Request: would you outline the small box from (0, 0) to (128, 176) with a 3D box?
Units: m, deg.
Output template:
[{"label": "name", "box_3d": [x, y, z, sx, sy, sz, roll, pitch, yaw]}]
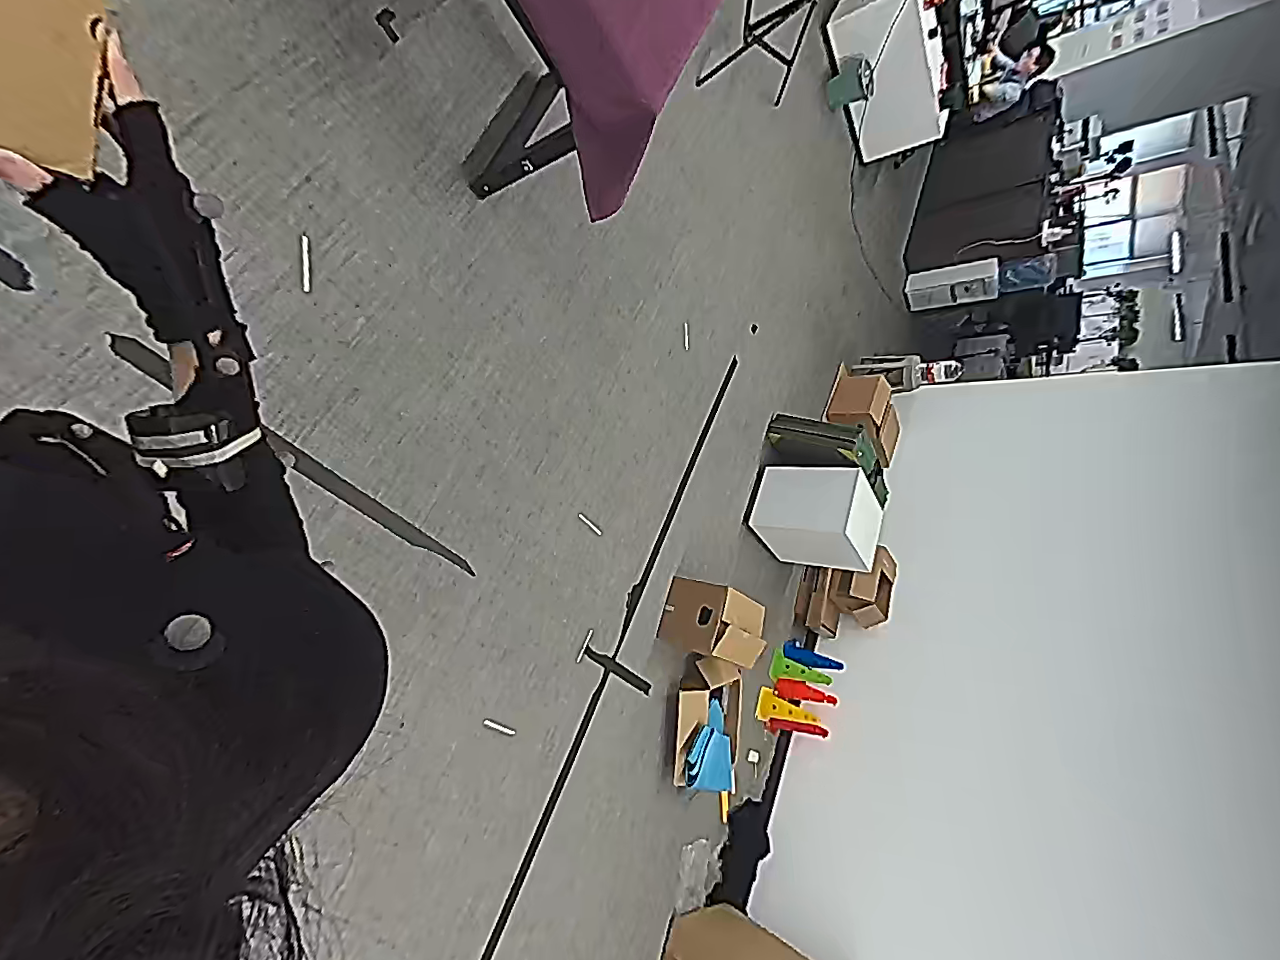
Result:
[{"label": "small box", "box_3d": [-0.404, -0.284, 0.280, 0.179, 0.176, 0.168, 2, 106, -55]}]
